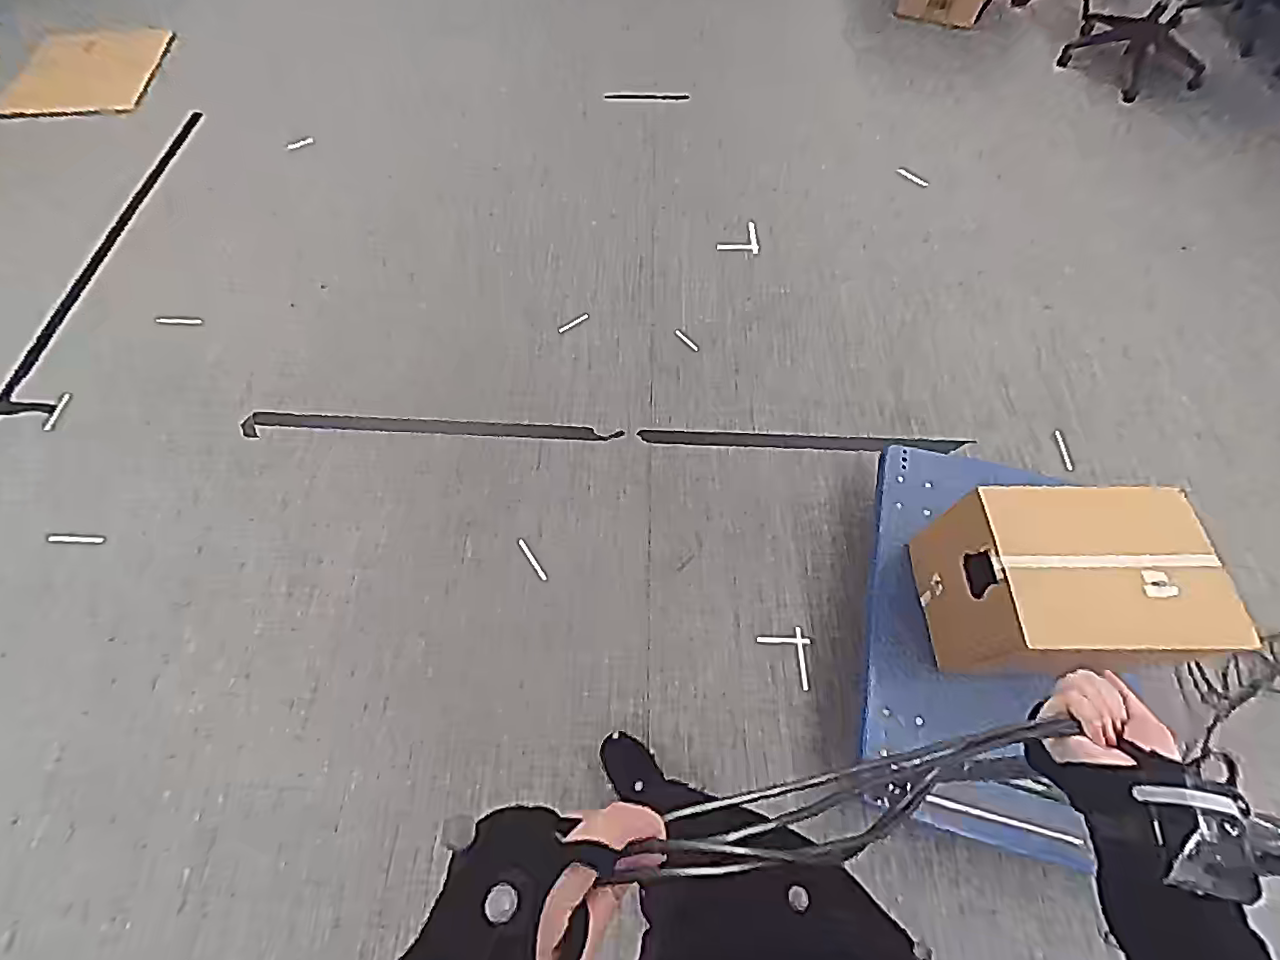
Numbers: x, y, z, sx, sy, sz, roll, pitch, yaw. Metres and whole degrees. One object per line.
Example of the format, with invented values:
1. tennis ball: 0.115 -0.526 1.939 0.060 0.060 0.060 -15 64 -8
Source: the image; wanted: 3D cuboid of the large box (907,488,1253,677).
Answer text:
1. large box: 0.846 0.222 1.118 0.408 0.320 0.320 0 63 -1
